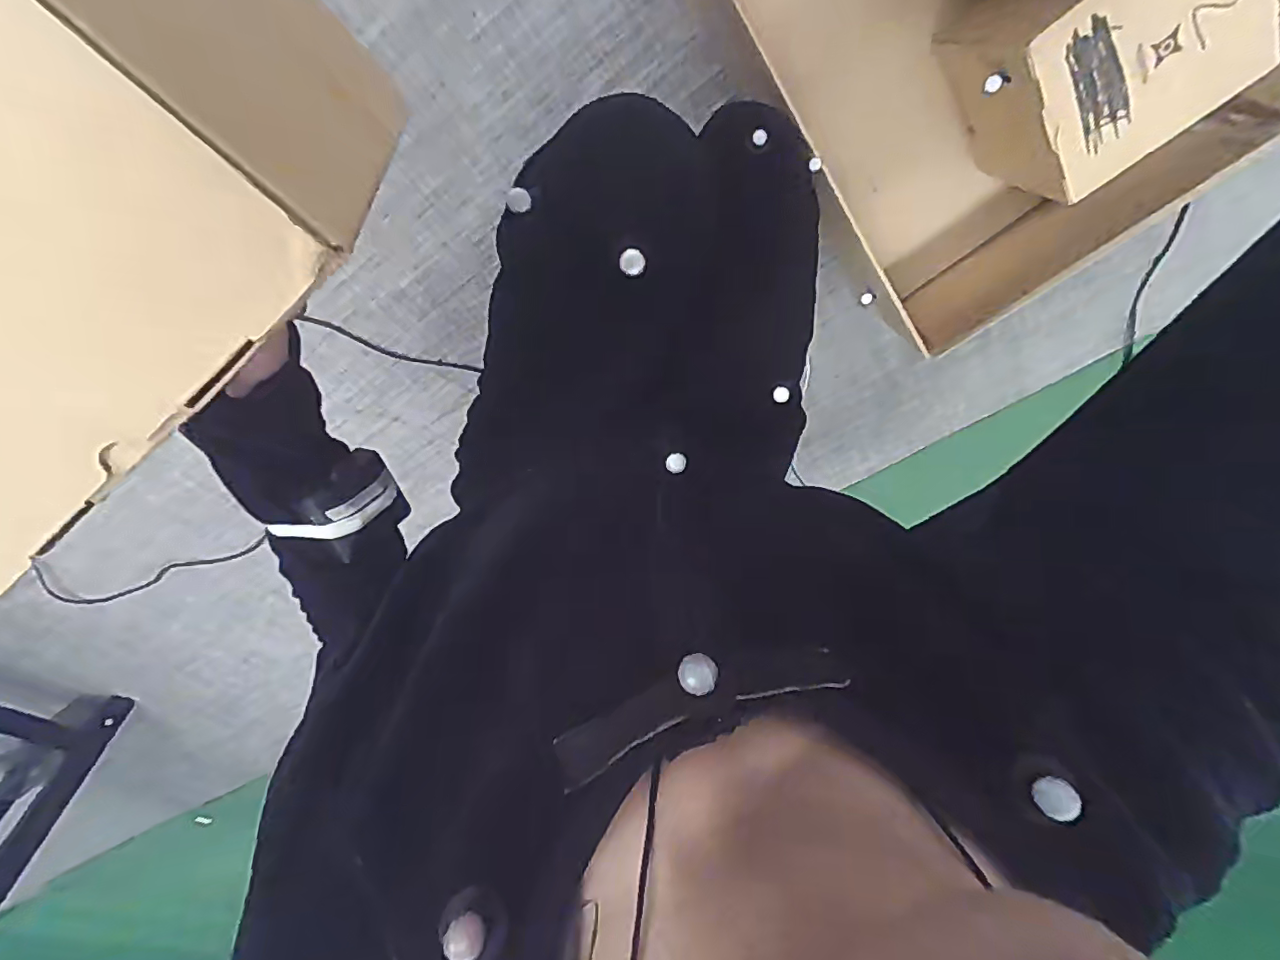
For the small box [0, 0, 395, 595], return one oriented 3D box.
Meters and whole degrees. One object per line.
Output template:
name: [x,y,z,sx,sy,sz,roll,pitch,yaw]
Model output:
small box: [-0.198,-0.103,0.149,0.168,0.176,0.179,-32,134,16]
